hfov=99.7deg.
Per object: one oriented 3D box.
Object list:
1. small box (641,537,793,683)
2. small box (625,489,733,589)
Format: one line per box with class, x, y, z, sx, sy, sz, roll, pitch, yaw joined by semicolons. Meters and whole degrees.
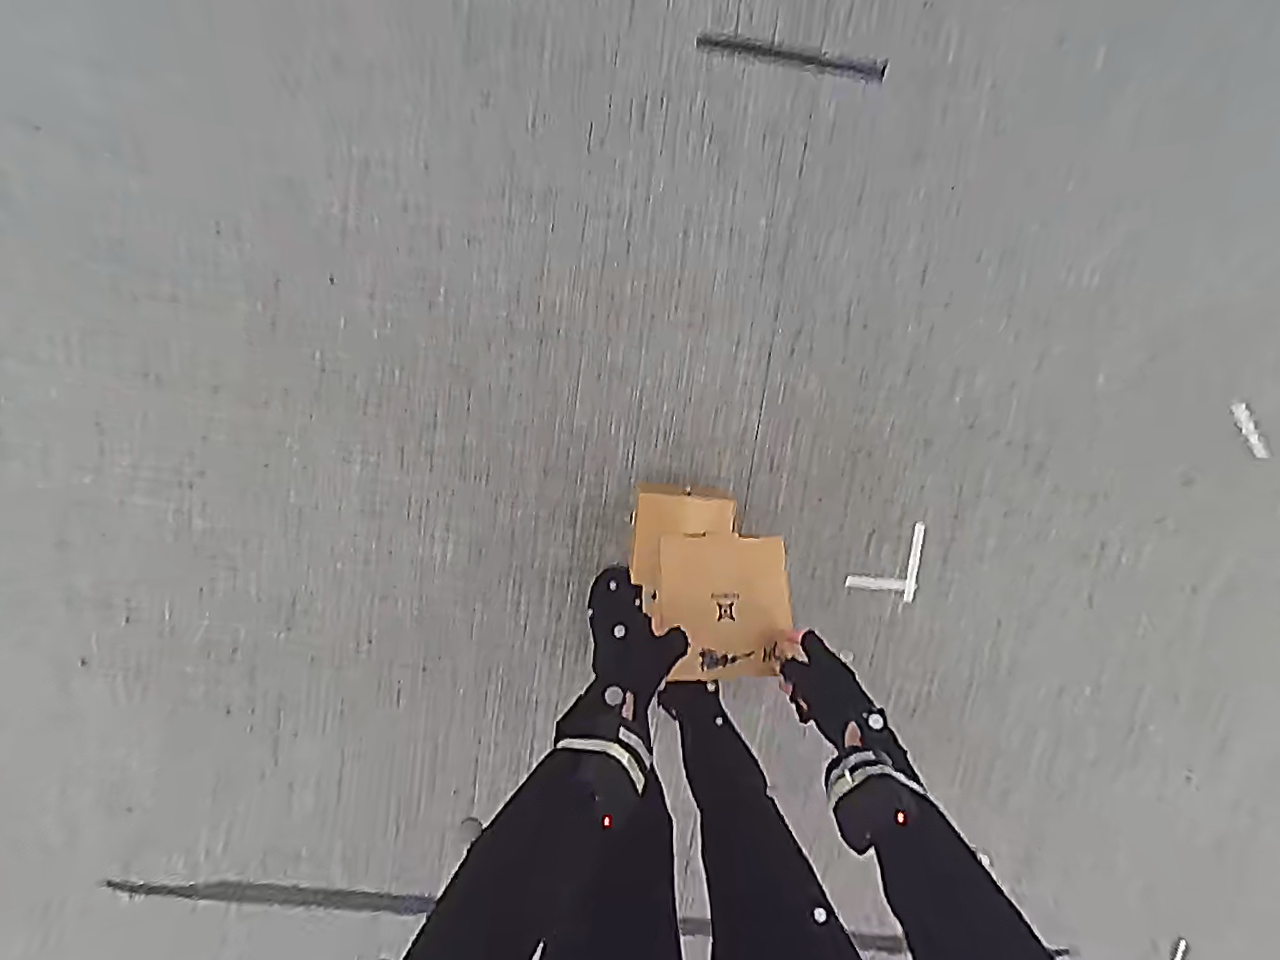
small box;0.092;0.182;0.739;0.168;0.176;0.179;2;72;-7
small box;0.068;0.112;1.046;0.179;0.176;0.168;5;95;-4
